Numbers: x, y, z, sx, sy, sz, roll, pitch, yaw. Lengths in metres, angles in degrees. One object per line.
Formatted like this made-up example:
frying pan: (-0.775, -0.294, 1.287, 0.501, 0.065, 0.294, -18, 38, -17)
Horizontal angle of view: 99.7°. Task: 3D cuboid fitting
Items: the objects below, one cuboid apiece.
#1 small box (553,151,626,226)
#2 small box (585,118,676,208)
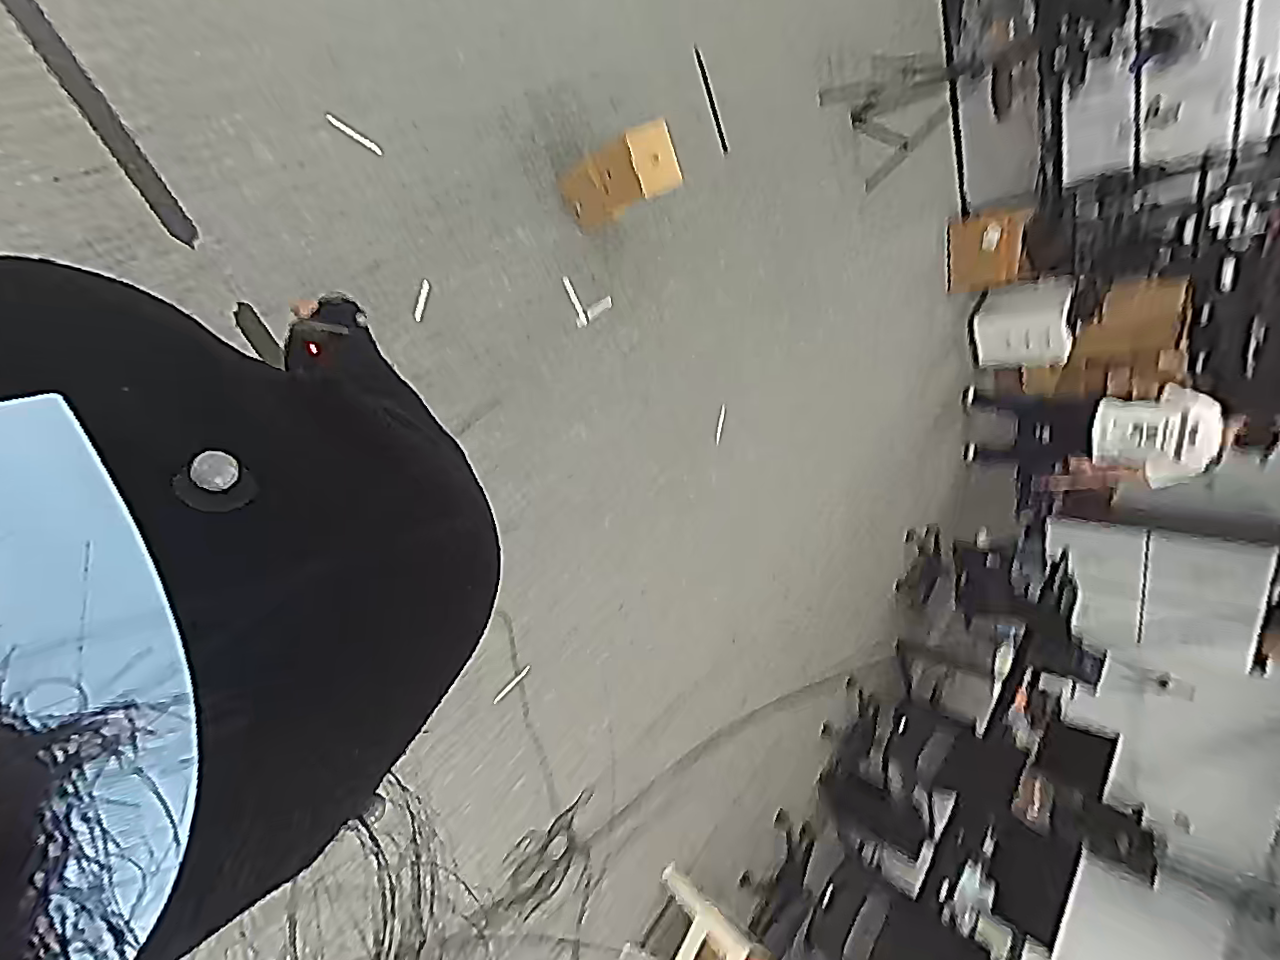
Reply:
small box: (-0.140, -0.935, 1.705, 0.179, 0.176, 0.168, -53, 127, -23)
small box: (-0.028, -0.926, 1.587, 0.179, 0.176, 0.168, -42, 122, -30)
